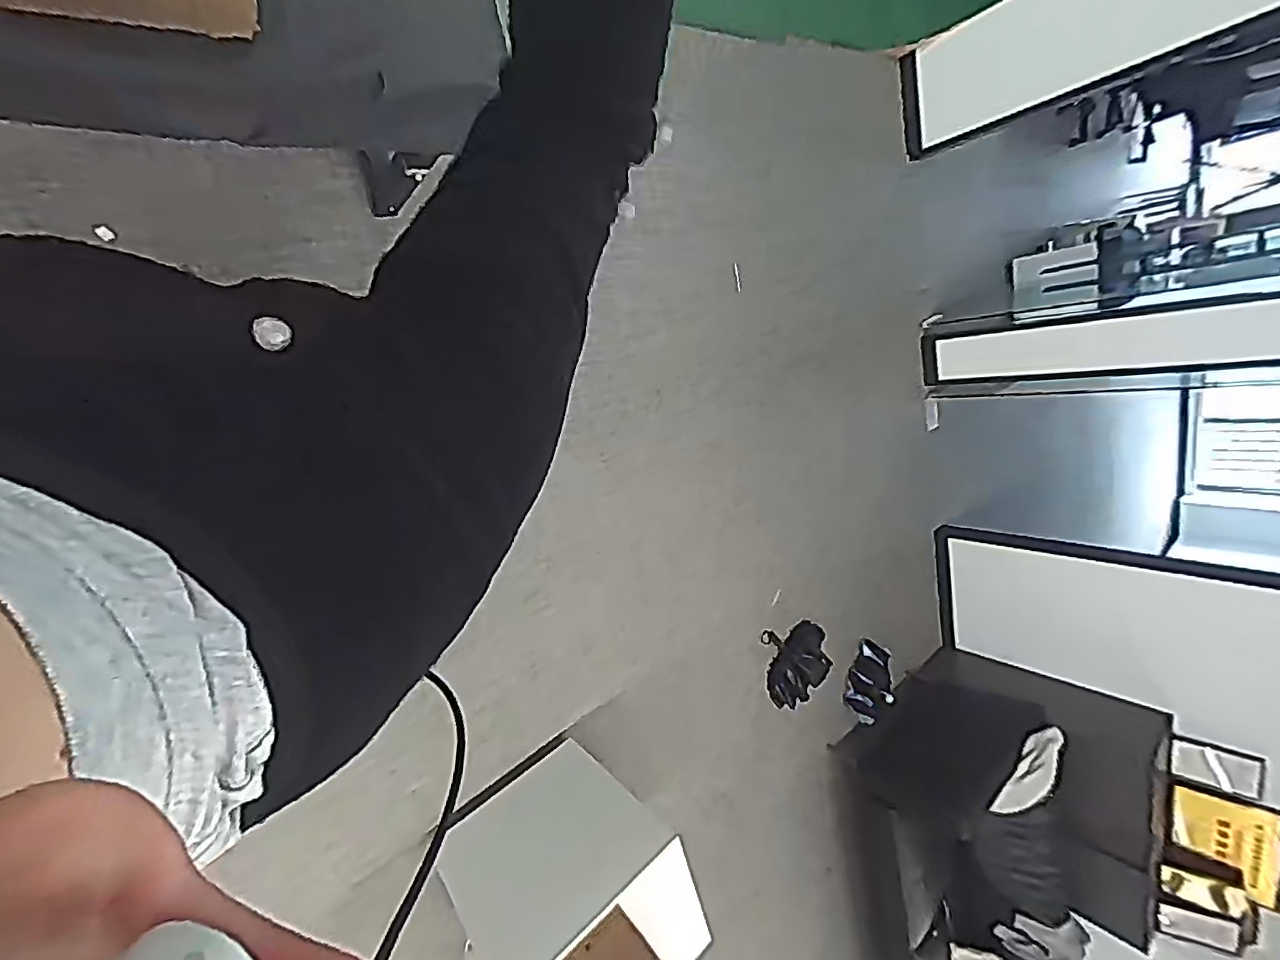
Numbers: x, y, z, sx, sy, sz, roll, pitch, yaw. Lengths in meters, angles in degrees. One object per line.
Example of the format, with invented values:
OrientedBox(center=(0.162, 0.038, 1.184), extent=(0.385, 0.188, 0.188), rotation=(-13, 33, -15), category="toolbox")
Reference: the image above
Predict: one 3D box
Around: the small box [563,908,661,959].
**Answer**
OrientedBox(center=(-0.050, 1.114, 1.206), extent=(0.168, 0.176, 0.179), rotation=(-27, 113, -31), category="small box")
